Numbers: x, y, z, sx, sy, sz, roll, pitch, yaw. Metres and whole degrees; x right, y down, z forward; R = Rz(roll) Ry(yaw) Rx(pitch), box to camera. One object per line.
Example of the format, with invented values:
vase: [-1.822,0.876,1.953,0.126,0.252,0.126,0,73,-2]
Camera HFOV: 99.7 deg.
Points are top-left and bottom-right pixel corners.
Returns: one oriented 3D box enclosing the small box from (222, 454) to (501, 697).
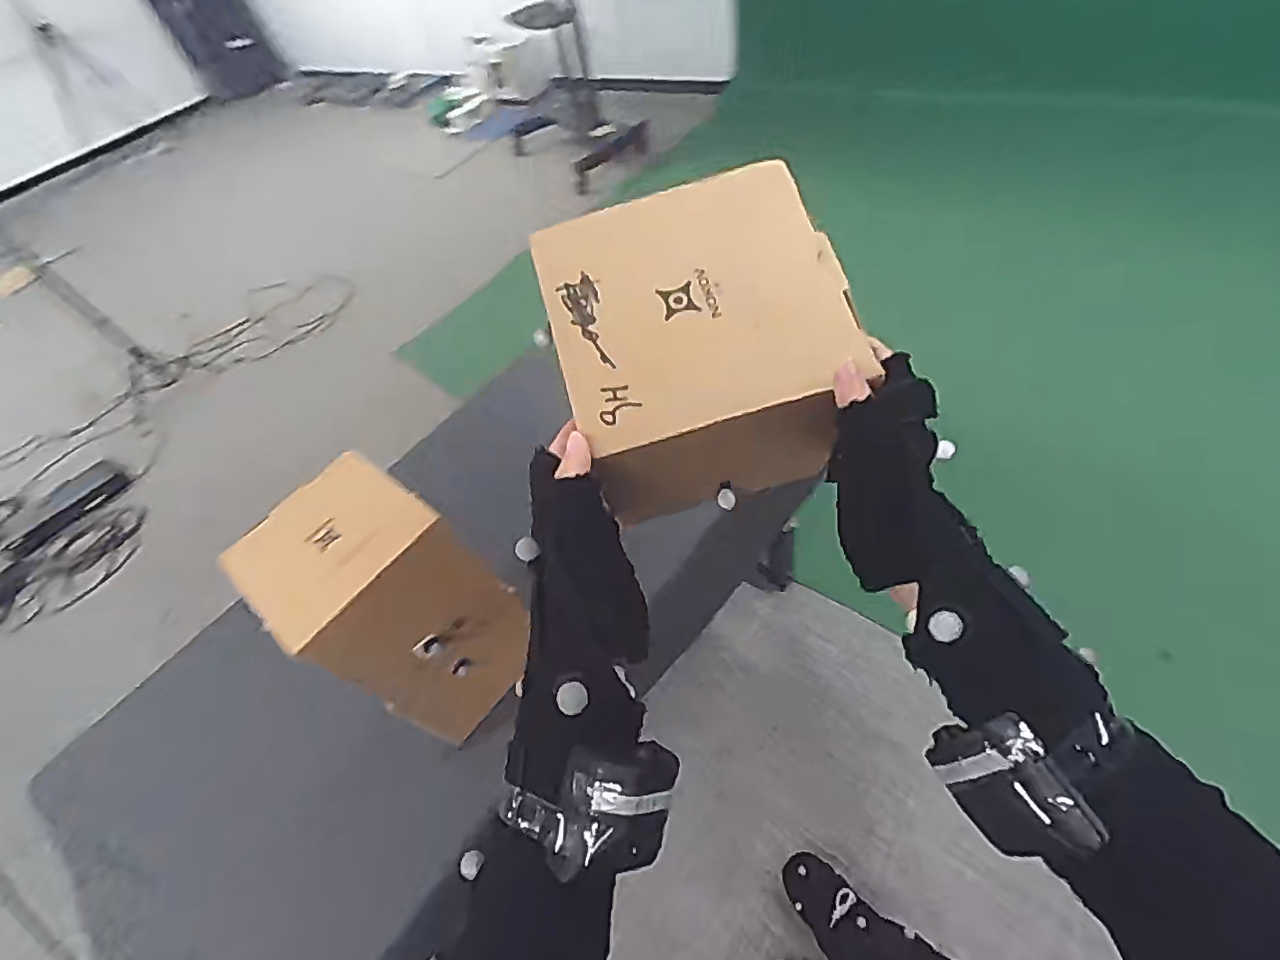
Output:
small box: [-0.289,0.107,0.591,0.179,0.176,0.168,27,64,29]

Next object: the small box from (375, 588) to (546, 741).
small box: [-0.256,0.216,0.728,0.168,0.176,0.179,28,63,30]

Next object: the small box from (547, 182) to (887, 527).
small box: [0.045,-0.077,0.406,0.179,0.176,0.168,-14,70,-1]
